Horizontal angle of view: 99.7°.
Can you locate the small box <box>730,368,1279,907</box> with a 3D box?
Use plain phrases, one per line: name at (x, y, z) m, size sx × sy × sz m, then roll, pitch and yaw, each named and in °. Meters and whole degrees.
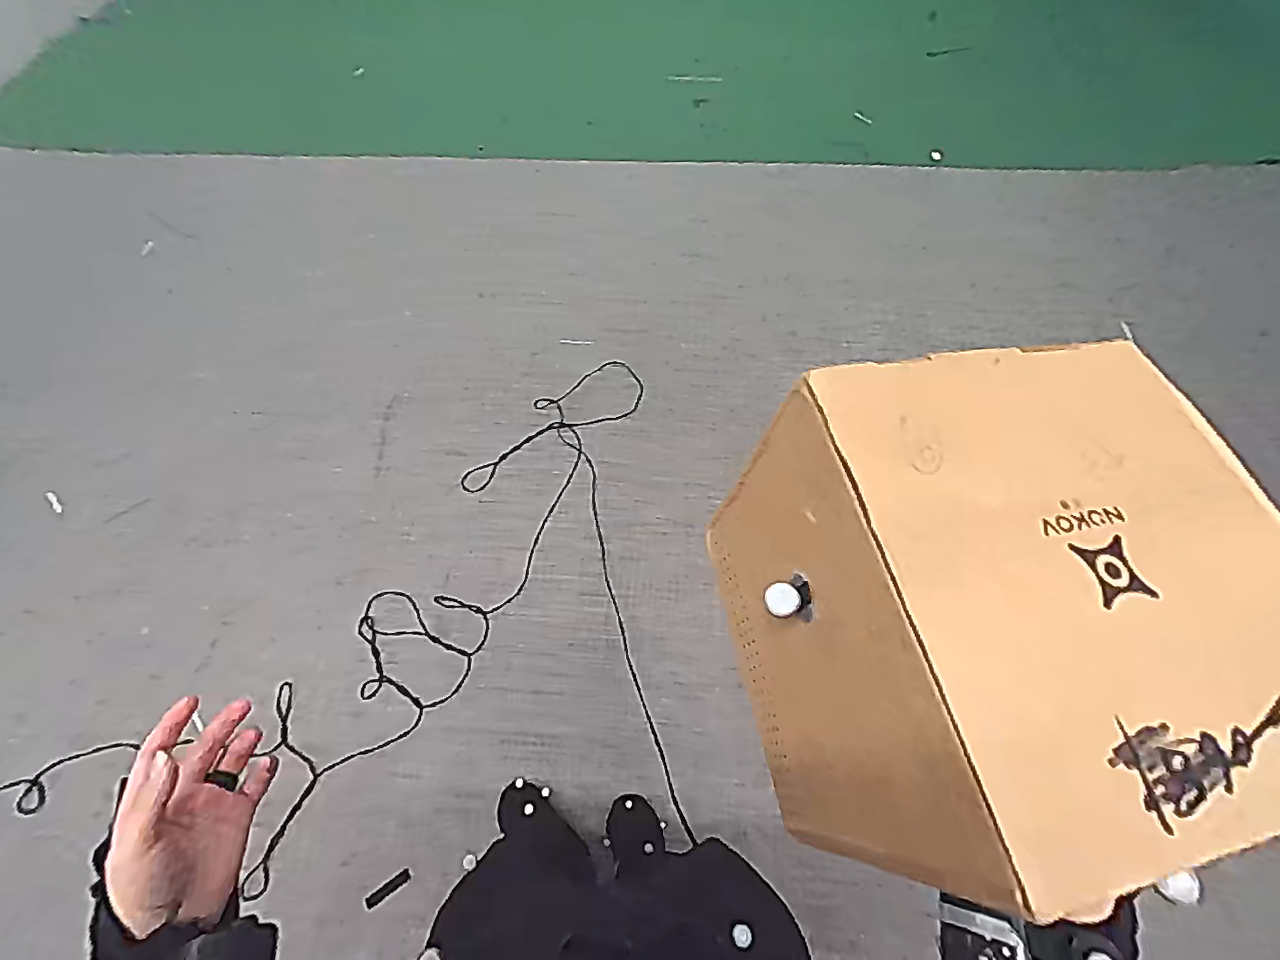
small box at (0.158, 0.070, 0.268) m, size 0.168 × 0.176 × 0.179 m, roll -8°, pitch 63°, yaw -11°
